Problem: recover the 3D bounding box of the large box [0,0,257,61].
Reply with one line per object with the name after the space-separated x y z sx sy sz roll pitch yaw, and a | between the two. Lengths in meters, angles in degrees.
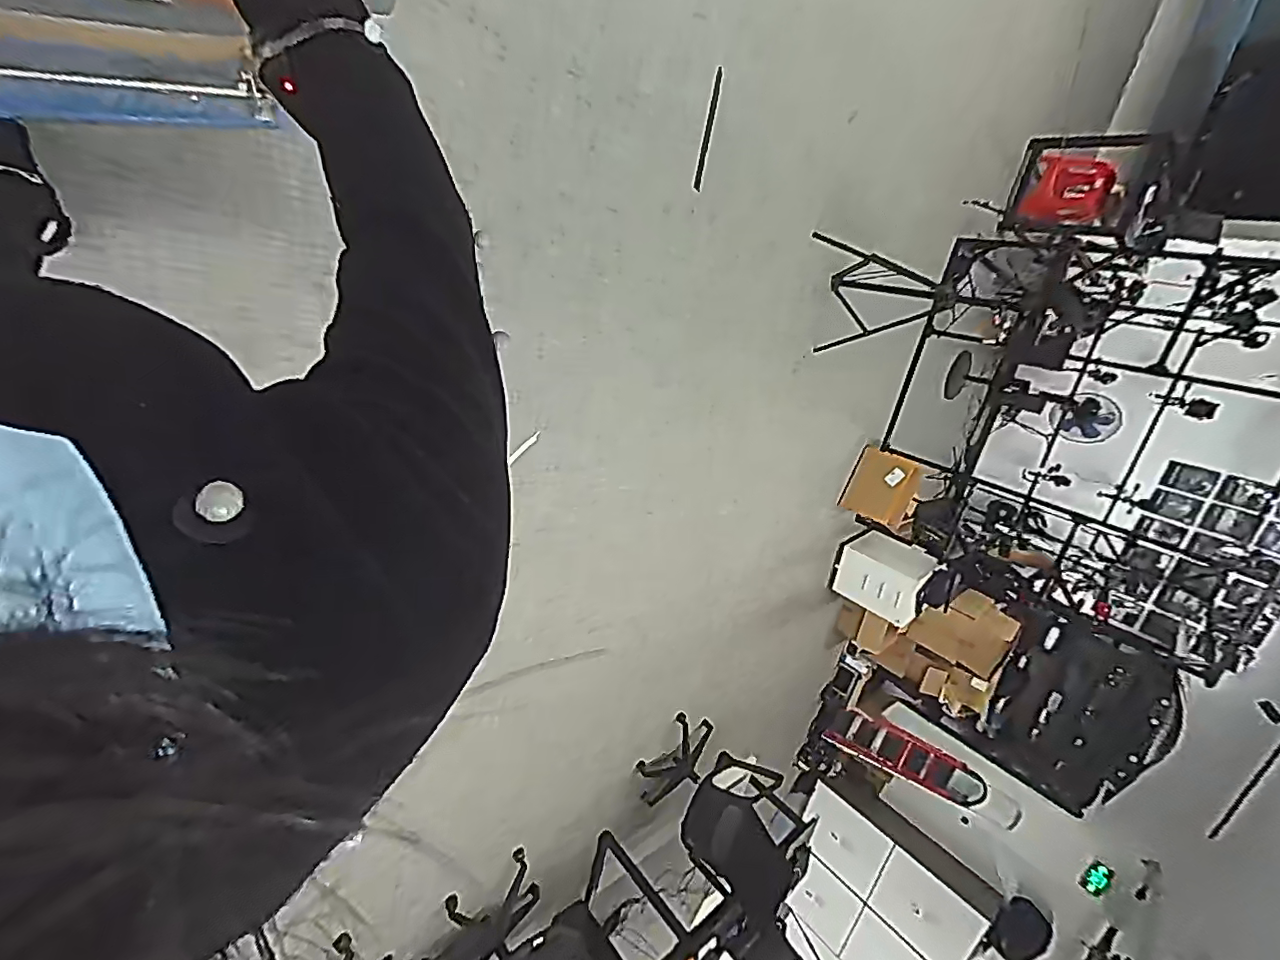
-0.740 -0.710 0.606 0.408 0.320 0.320 -23 126 -37 | large box
